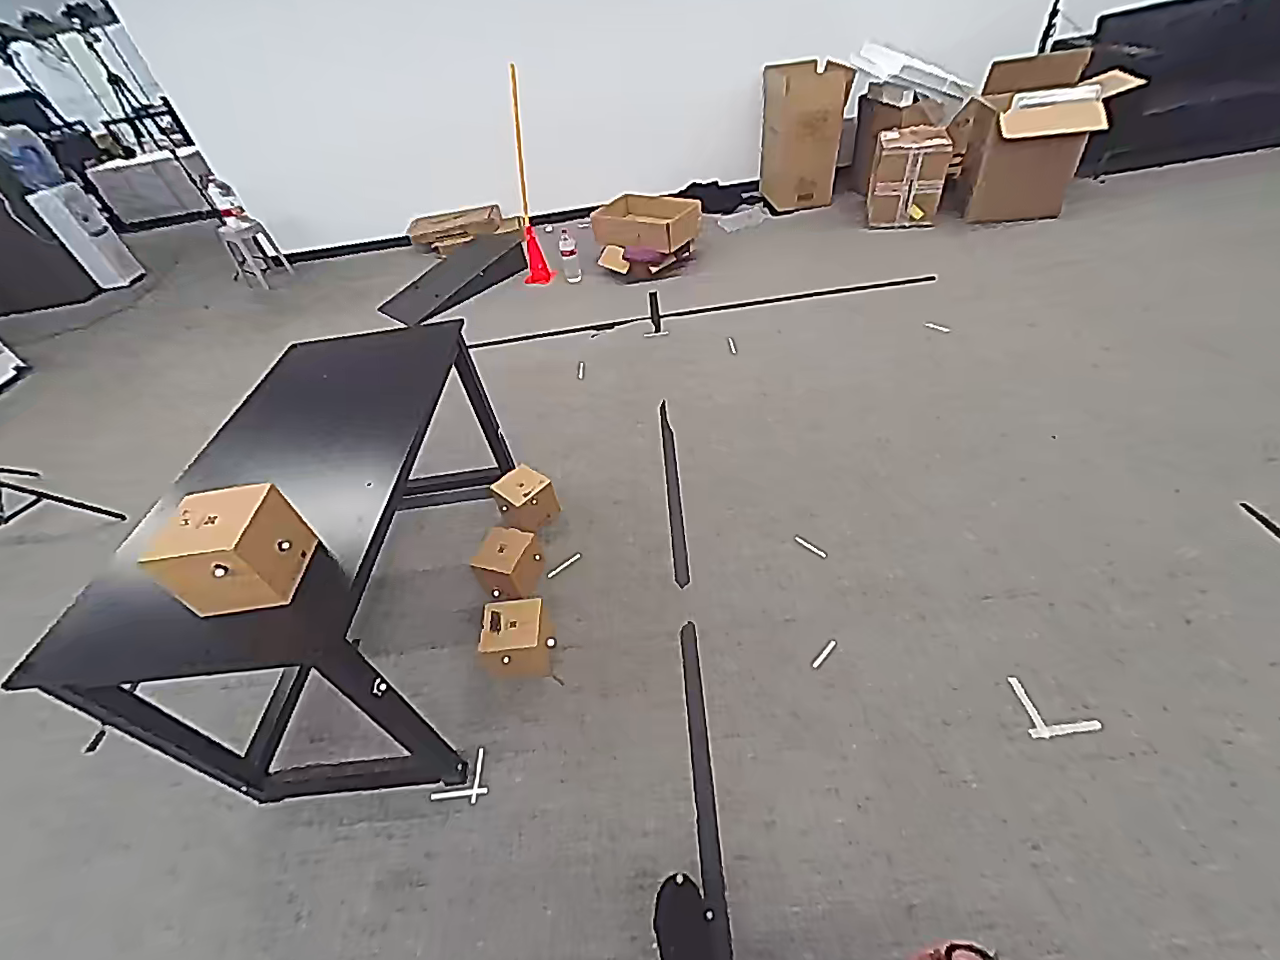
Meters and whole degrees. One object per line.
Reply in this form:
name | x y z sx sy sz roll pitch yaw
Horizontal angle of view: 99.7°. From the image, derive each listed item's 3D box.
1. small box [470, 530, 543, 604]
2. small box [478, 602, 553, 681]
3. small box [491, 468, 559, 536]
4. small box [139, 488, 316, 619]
small box | -0.449 0.301 1.863 0.168 0.176 0.179 7 47 19
small box | -0.372 0.494 1.645 0.179 0.176 0.168 -7 44 2
small box | -0.439 0.088 2.079 0.179 0.176 0.168 27 55 33
small box | -0.758 0.141 1.022 0.179 0.176 0.168 -9 43 2
